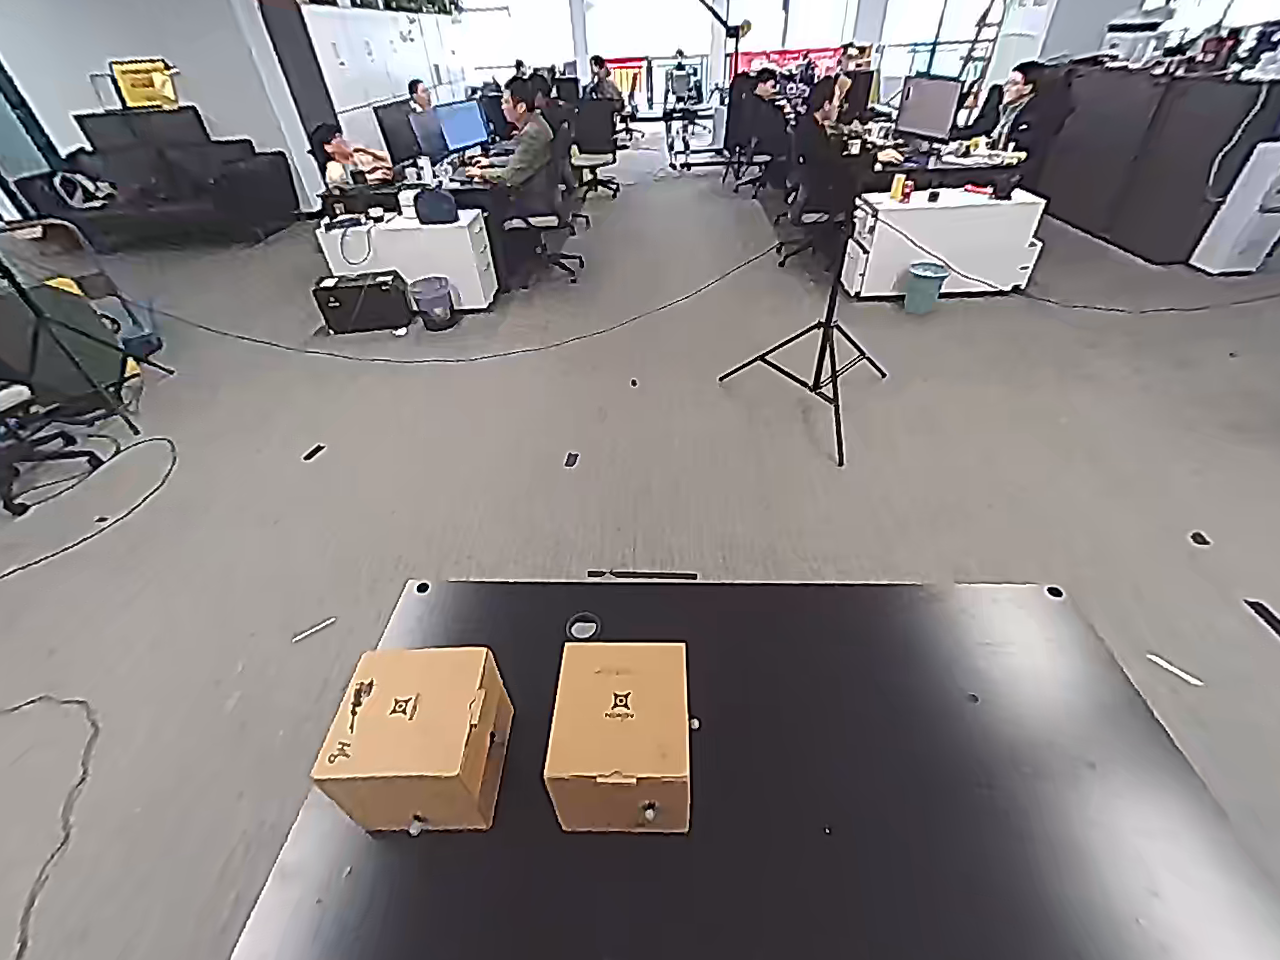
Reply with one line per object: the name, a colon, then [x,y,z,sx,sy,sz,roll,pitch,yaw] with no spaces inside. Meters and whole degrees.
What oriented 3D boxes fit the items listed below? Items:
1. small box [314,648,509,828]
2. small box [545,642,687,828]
small box: [-0.283,0.344,0.723,0.179,0.176,0.168,-1,39,0]
small box: [-0.021,0.338,0.718,0.168,0.176,0.179,0,39,2]
